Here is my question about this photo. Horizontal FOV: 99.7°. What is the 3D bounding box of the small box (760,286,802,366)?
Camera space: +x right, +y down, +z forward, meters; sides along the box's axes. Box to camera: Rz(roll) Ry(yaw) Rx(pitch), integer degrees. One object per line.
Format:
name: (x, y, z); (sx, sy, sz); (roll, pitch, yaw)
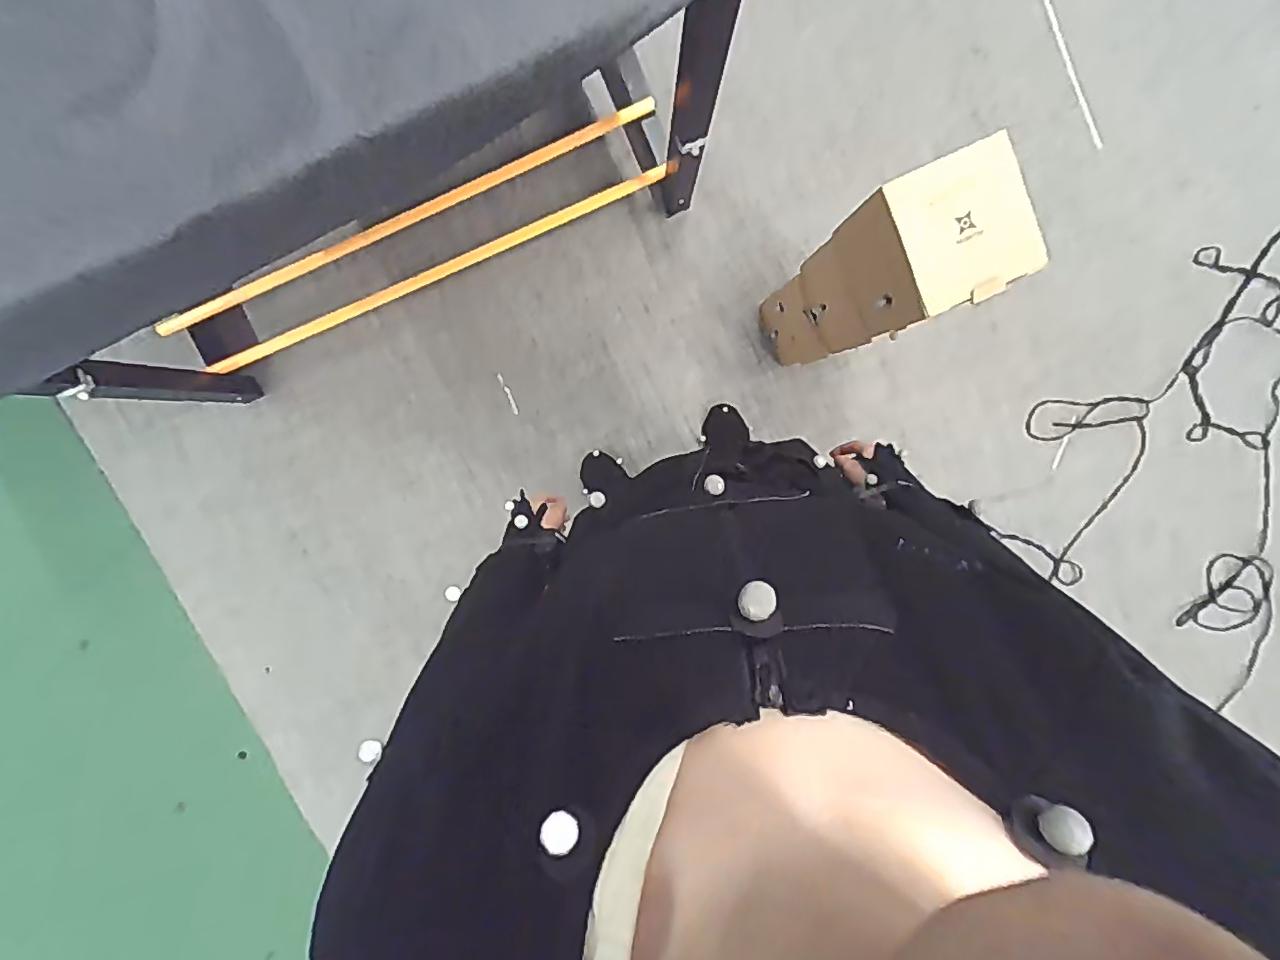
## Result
small box: (0.397, -0.374, 1.233); (0.179, 0.176, 0.168); (-23, 95, 1)

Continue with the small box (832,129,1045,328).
small box: (0.396, -0.325, 0.746); (0.168, 0.176, 0.179); (-25, 95, 1)

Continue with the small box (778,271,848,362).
small box: (0.390, -0.348, 1.072); (0.179, 0.176, 0.168); (-26, 96, 1)

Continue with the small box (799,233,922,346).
small box: (0.394, -0.337, 0.907); (0.168, 0.176, 0.179); (-24, 97, 1)
